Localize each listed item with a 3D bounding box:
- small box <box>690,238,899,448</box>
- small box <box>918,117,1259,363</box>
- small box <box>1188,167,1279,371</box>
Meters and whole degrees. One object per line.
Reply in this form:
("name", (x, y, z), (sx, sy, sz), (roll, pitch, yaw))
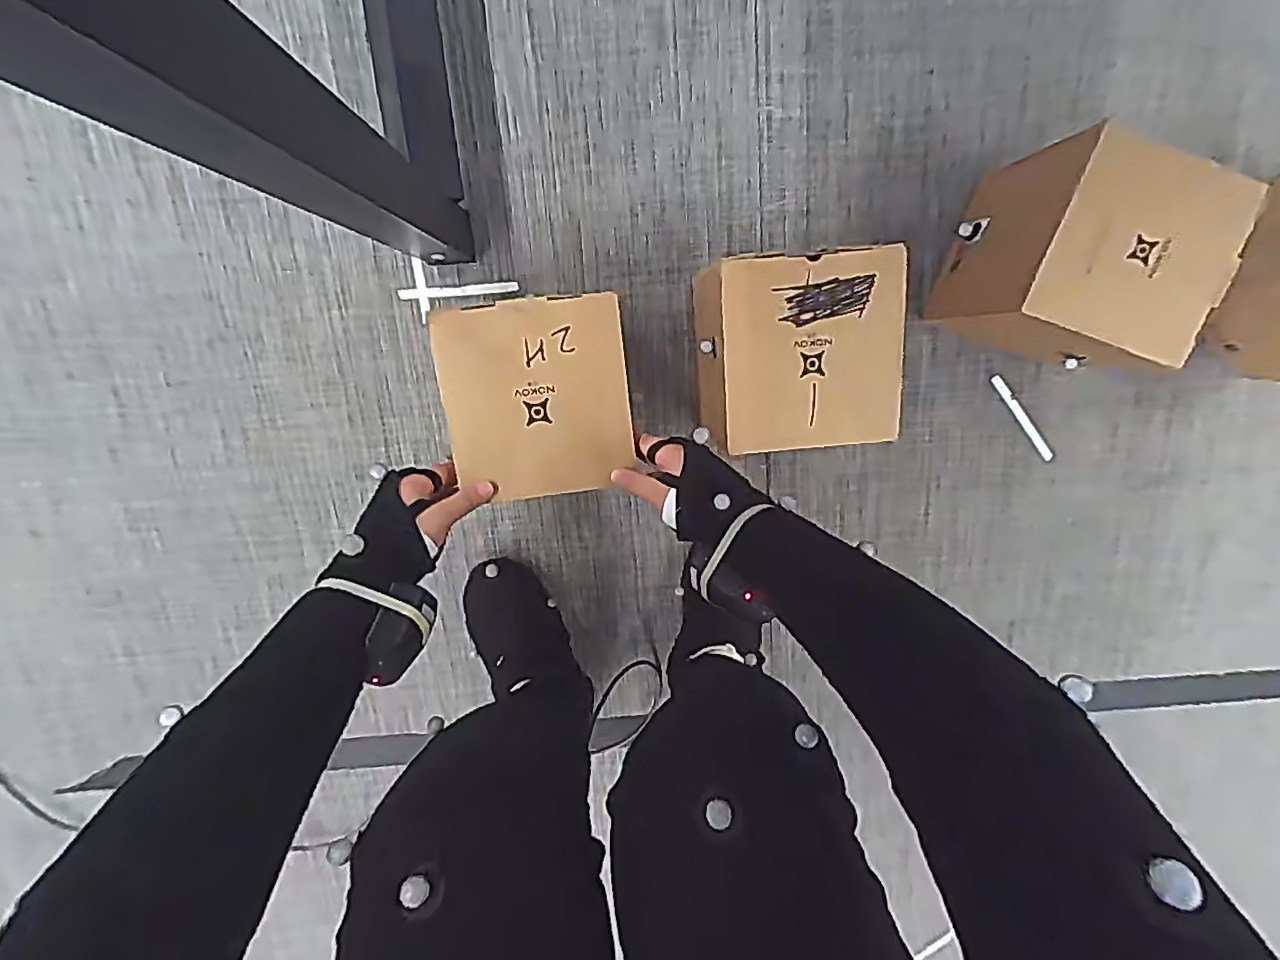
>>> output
("small box", (0.147, -0.141, 0.567), (0.168, 0.176, 0.179), (-6, 106, -1))
("small box", (0.435, -0.229, 0.560), (0.179, 0.176, 0.168), (16, 102, -6))
("small box", (0.739, -0.231, 0.571), (0.168, 0.176, 0.179), (38, 100, -11))
